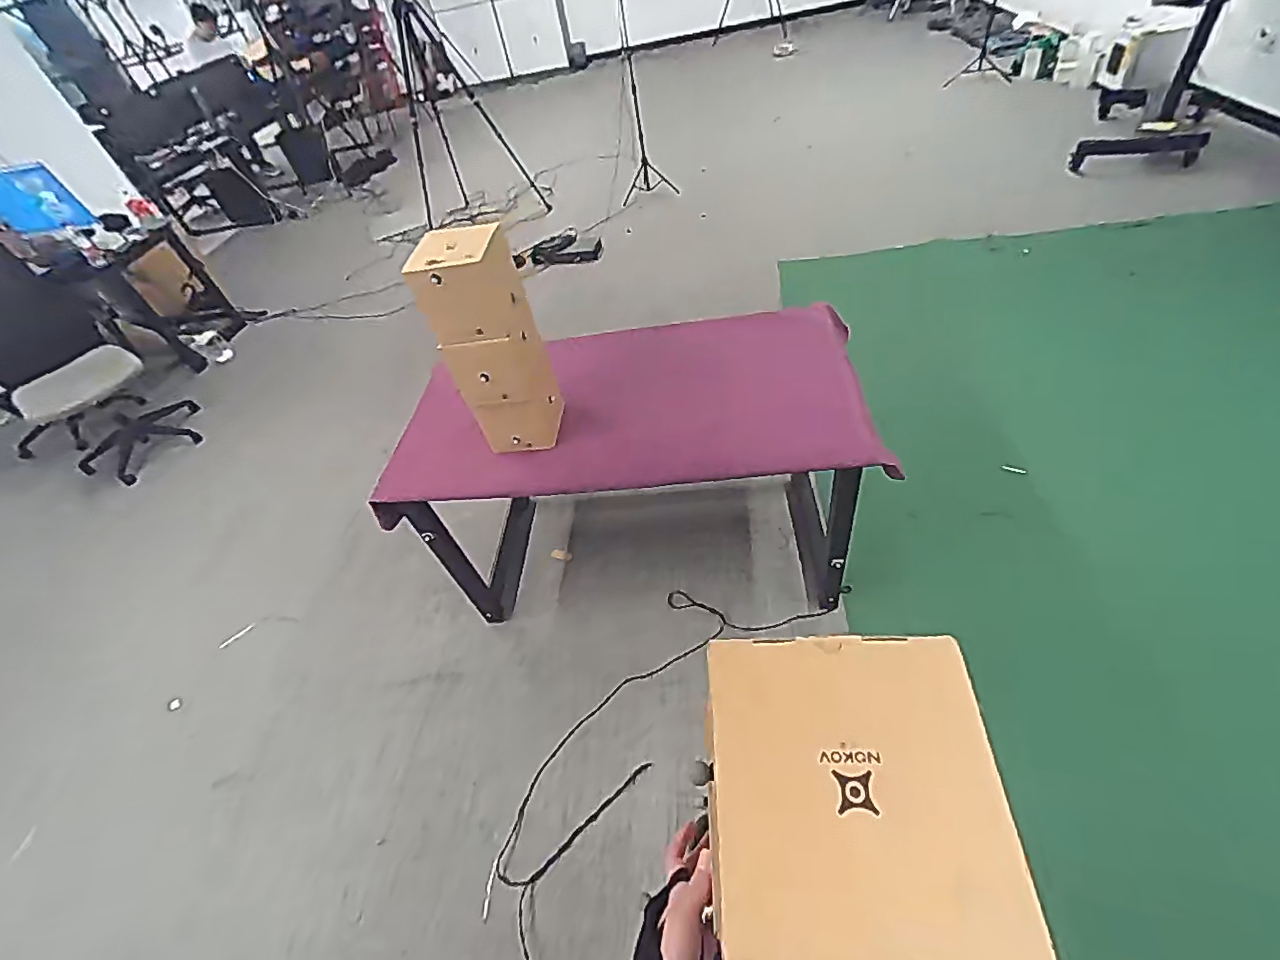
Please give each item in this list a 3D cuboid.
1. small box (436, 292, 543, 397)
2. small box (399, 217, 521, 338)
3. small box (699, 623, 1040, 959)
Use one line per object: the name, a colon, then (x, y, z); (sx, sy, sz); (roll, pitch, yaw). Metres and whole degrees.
small box: (-0.334, -0.304, 1.240); (0.168, 0.176, 0.179); (-3, 48, 10)
small box: (-0.360, -0.418, 1.125); (0.168, 0.176, 0.179); (-5, 48, 9)
small box: (0.131, 0.215, 0.387); (0.168, 0.176, 0.179); (-3, 55, 7)
